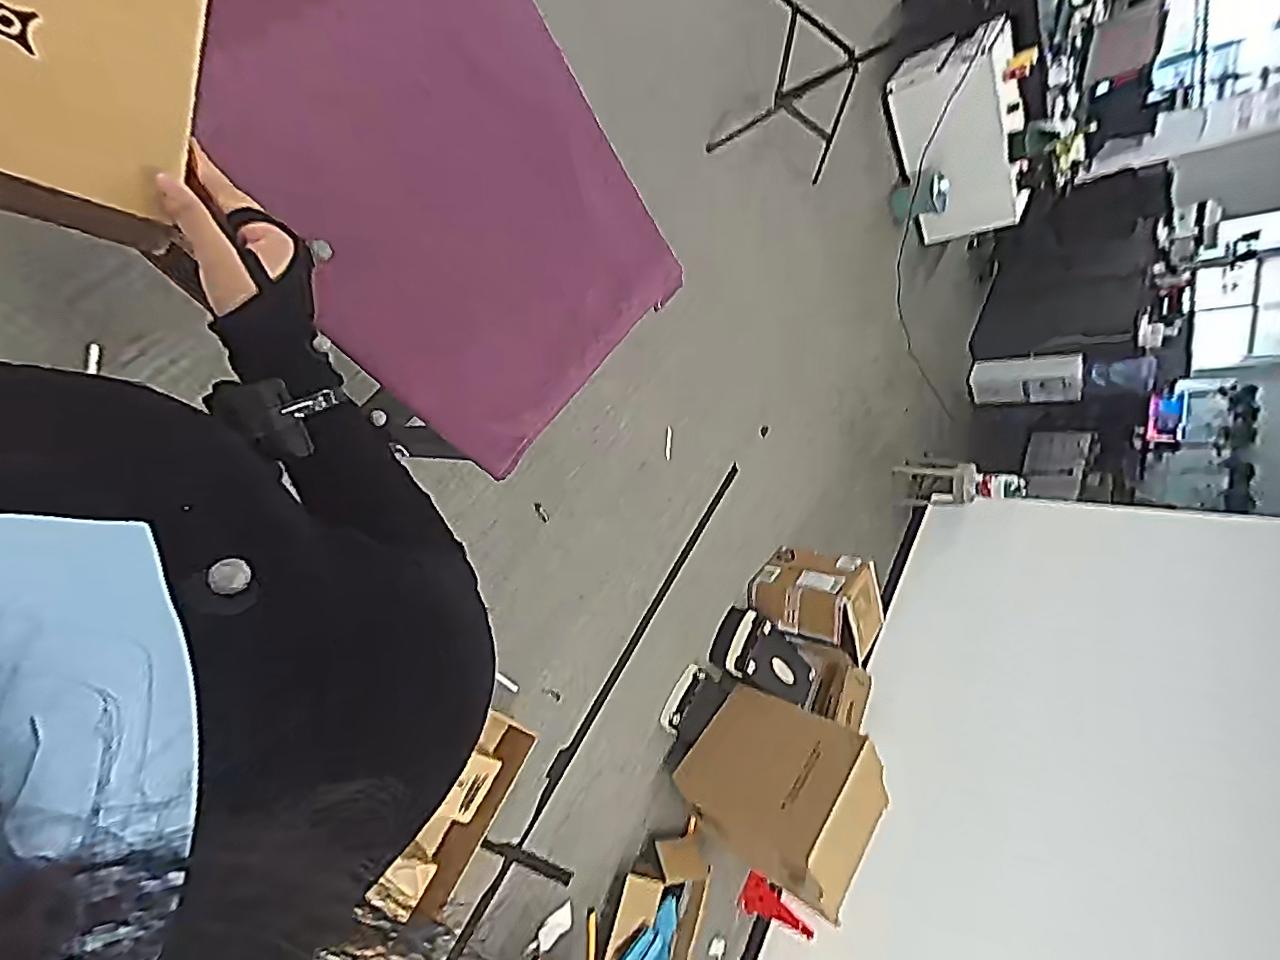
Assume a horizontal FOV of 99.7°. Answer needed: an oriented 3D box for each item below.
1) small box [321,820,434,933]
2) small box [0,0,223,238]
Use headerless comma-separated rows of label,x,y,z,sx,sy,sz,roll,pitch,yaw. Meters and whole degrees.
small box,-0.681,1.015,1.395,0.179,0.176,0.168,49,62,-36
small box,-0.408,-0.279,0.361,0.179,0.176,0.168,8,96,-44
